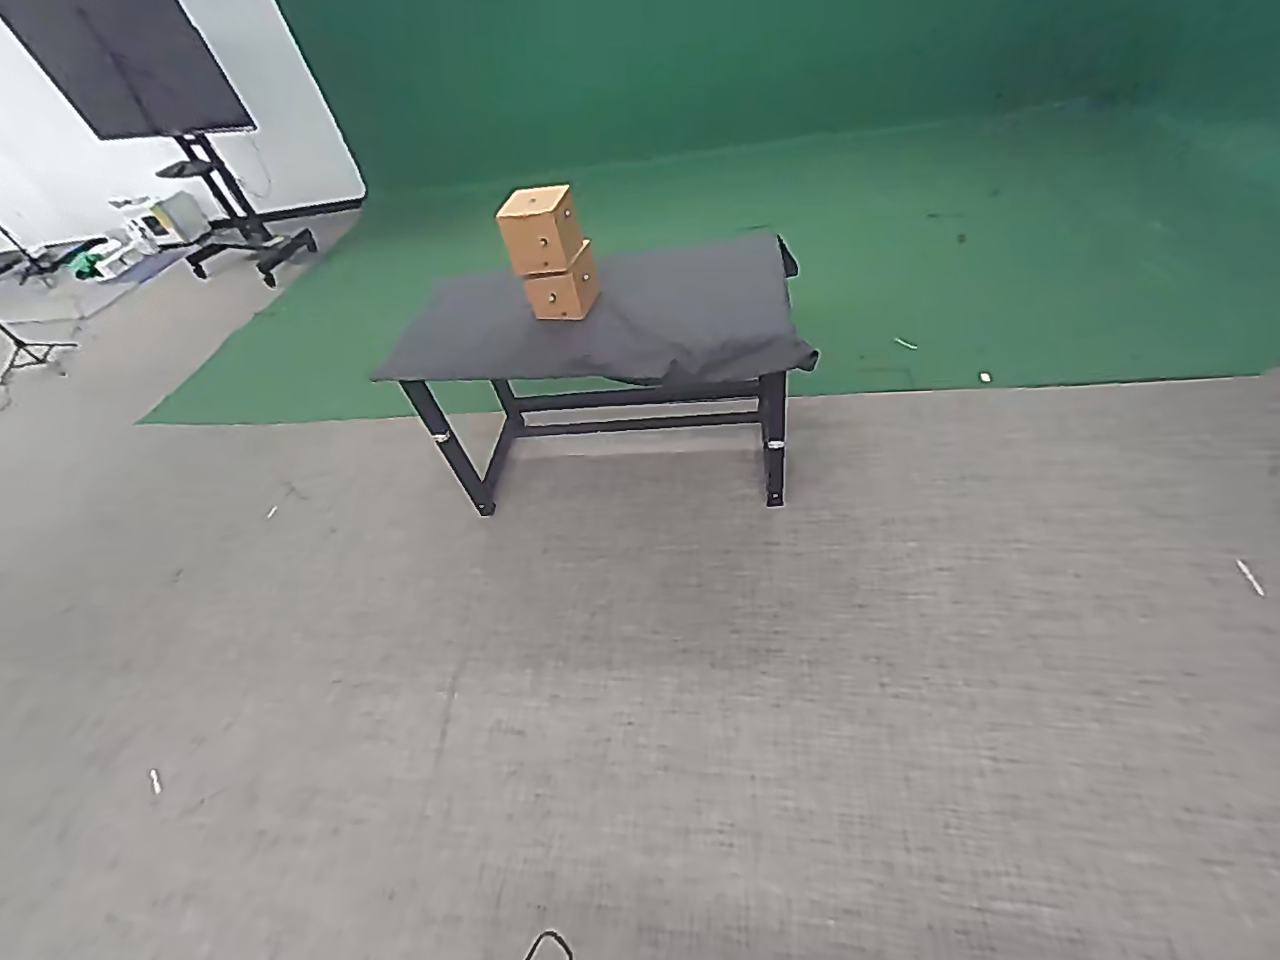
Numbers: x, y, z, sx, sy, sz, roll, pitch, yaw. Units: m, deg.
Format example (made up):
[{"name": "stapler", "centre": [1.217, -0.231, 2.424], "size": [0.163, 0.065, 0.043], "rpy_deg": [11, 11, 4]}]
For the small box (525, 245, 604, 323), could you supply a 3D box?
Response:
[{"name": "small box", "centre": [-0.225, -0.601, 1.670], "size": [0.168, 0.176, 0.179], "rpy_deg": [6, 50, 18]}]

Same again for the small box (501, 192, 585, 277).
[{"name": "small box", "centre": [-0.267, -0.693, 1.539], "size": [0.168, 0.176, 0.179], "rpy_deg": [2, 48, 13]}]
